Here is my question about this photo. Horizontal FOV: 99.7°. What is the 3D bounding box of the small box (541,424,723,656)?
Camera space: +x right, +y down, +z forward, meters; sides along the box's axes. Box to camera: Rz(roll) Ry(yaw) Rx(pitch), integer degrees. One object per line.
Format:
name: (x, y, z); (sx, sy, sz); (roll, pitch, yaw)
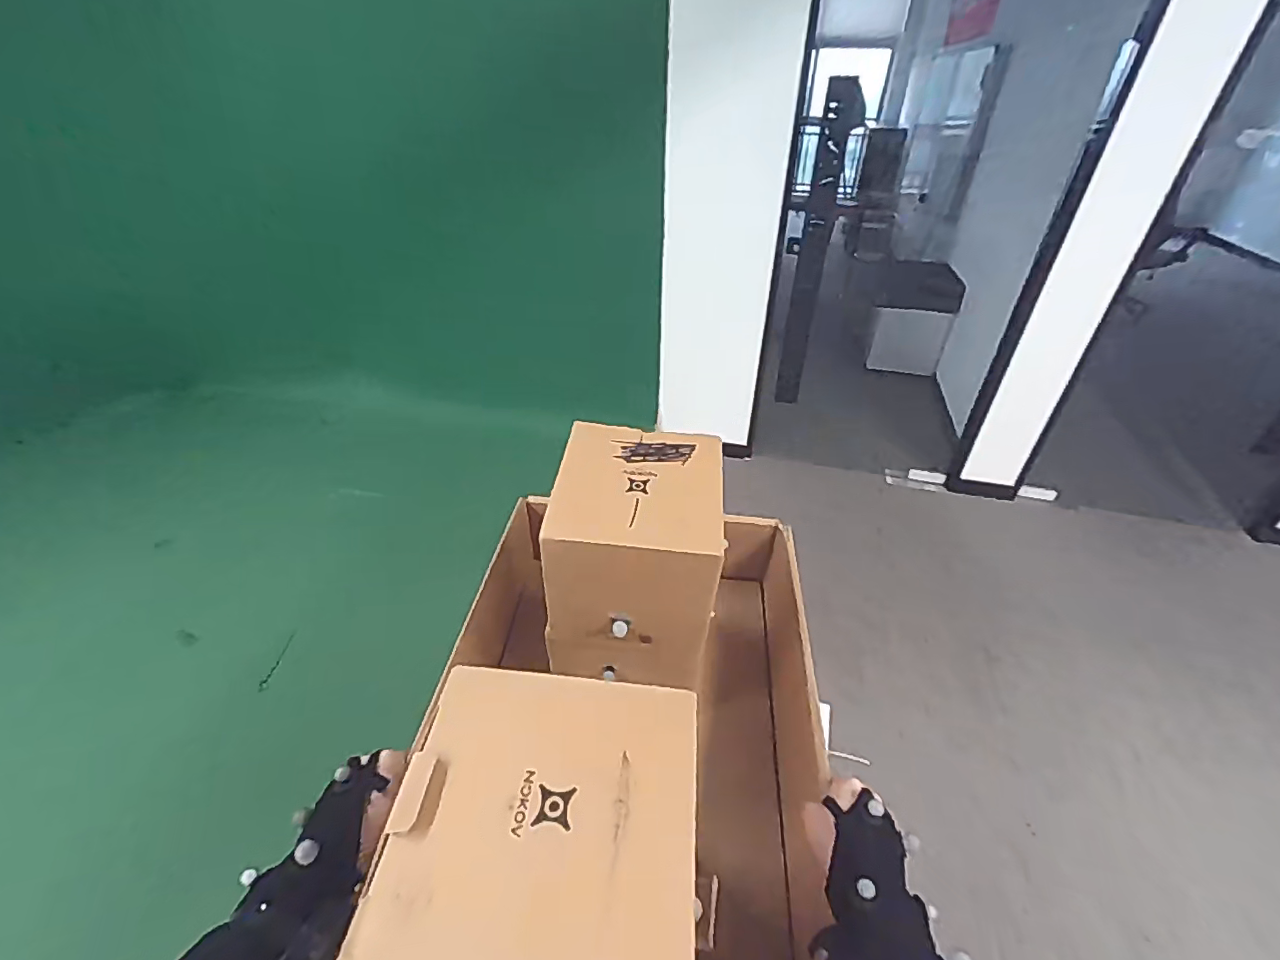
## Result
small box: (-0.004, 0.063, 0.589); (0.168, 0.176, 0.179); (5, 43, 3)

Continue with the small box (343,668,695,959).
small box: (-0.059, 0.255, 0.374); (0.179, 0.176, 0.168); (6, 42, 1)
